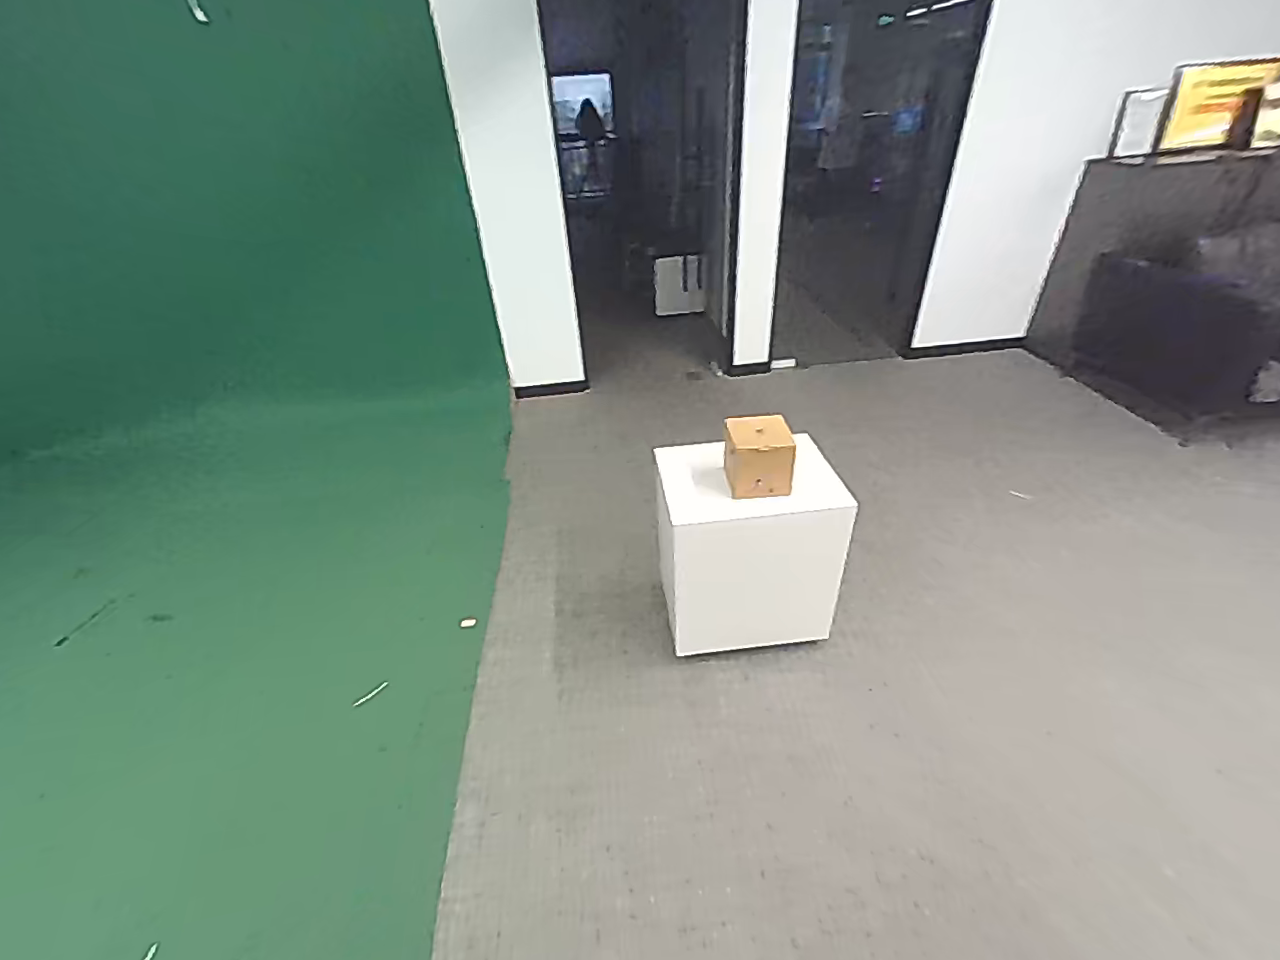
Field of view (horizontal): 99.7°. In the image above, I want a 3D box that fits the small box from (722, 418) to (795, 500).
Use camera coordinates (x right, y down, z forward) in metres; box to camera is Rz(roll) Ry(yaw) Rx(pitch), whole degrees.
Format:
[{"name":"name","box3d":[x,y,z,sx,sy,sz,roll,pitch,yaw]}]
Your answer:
[{"name":"small box","box3d":[0.328,-0.060,1.535,0.168,0.176,0.179,-5,34,-1]}]
